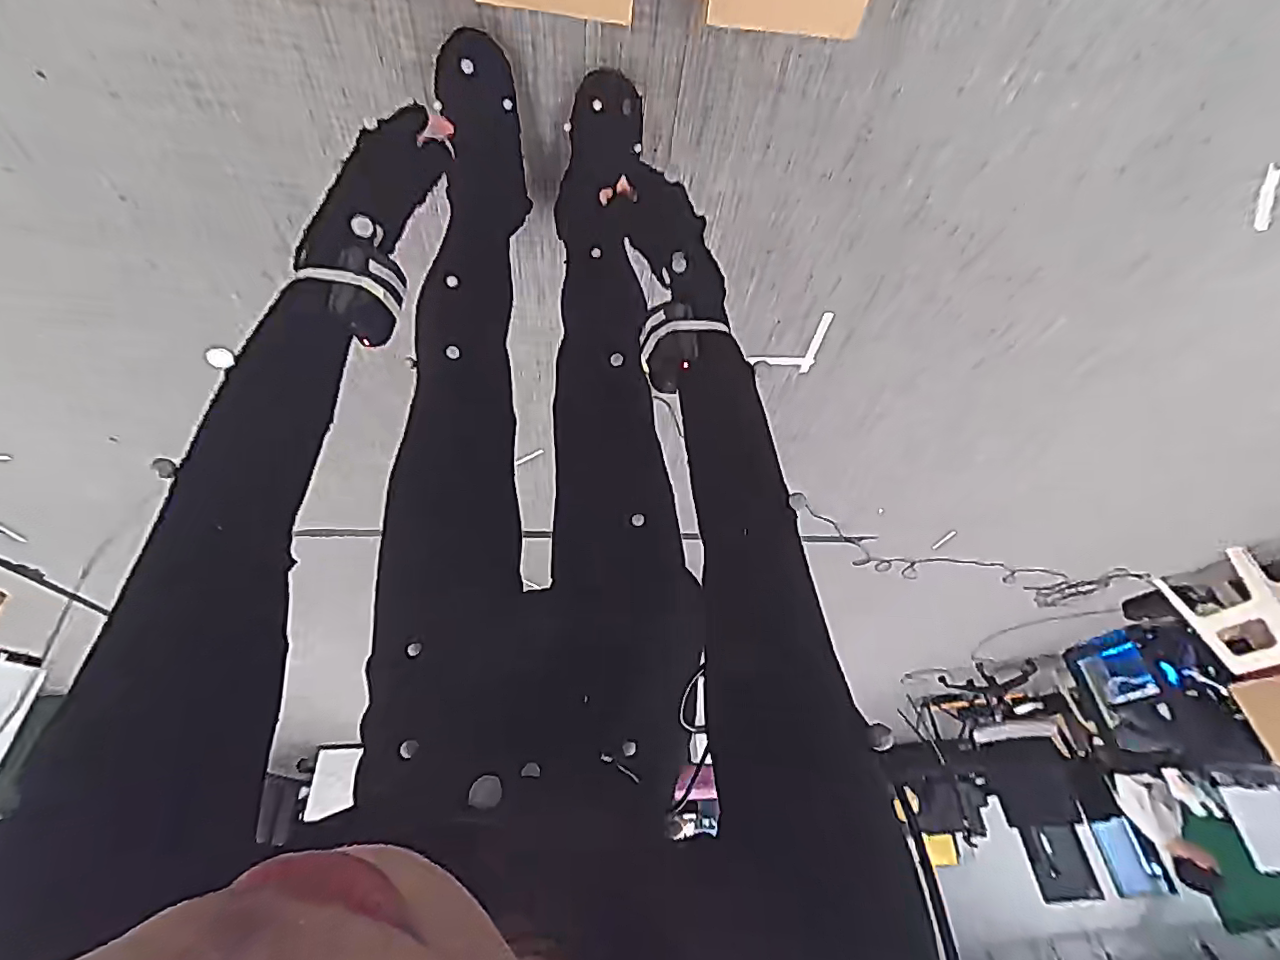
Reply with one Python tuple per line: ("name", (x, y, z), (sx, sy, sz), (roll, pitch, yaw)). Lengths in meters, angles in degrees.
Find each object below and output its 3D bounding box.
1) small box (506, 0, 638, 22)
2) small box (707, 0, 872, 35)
("small box", (-0.077, -0.605, 0.535), (0.168, 0.176, 0.179), (3, 148, -8))
("small box", (0.161, -0.603, 0.560), (0.179, 0.176, 0.168), (0, 149, -6))
